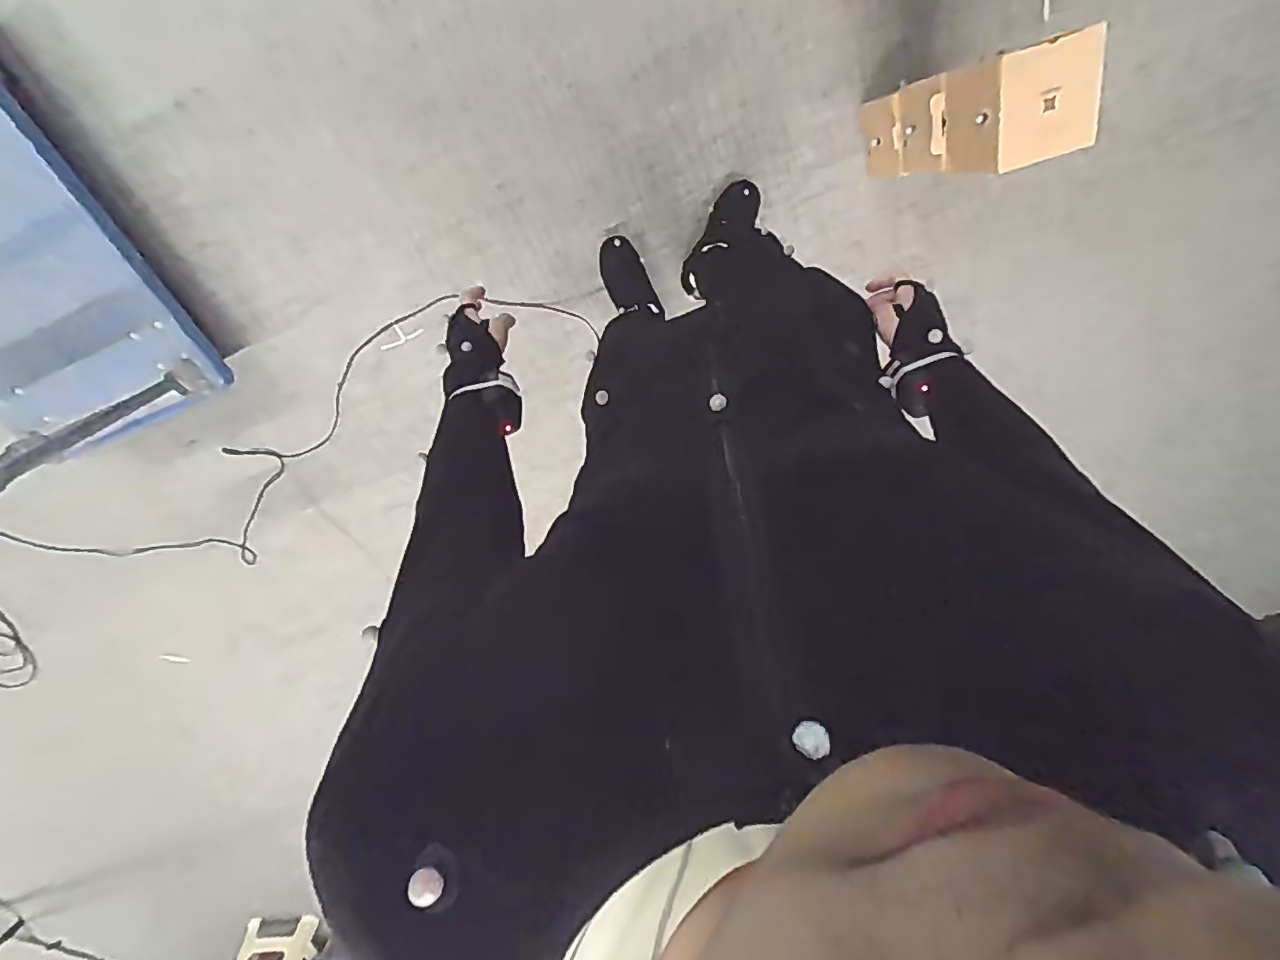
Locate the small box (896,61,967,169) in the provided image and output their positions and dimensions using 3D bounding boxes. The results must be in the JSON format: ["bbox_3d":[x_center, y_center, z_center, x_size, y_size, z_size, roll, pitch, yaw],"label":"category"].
[{"bbox_3d":[0.651,-0.752,1.105,0.179,0.176,0.168,-15,118,3],"label":"small box"}]

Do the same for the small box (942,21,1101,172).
[{"bbox_3d":[0.664,-0.669,0.965,0.168,0.176,0.179,-15,119,4],"label":"small box"}]

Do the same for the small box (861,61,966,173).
[{"bbox_3d":[0.630,-0.826,1.251,0.179,0.176,0.168,-18,118,6],"label":"small box"}]
